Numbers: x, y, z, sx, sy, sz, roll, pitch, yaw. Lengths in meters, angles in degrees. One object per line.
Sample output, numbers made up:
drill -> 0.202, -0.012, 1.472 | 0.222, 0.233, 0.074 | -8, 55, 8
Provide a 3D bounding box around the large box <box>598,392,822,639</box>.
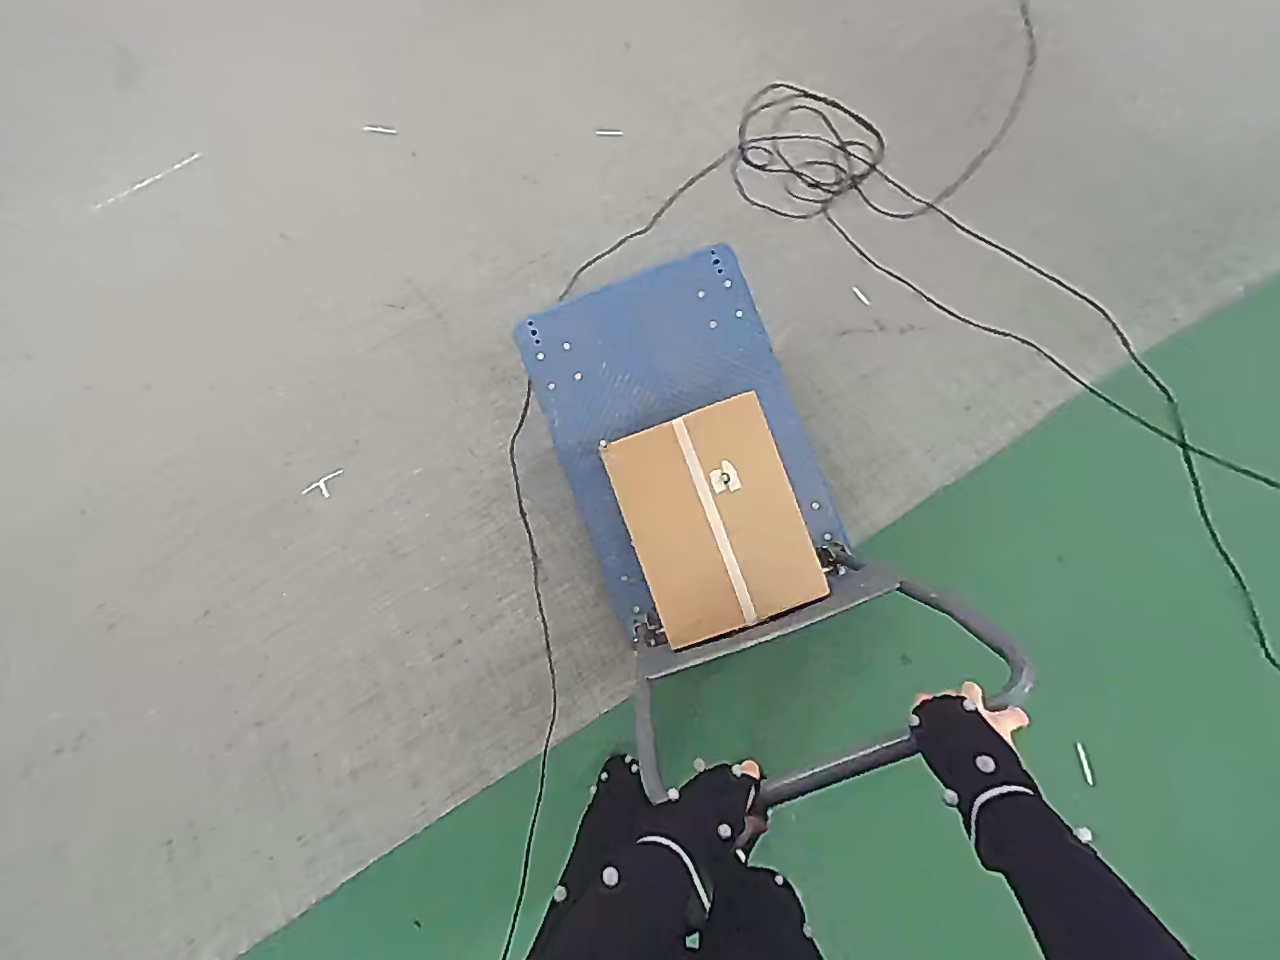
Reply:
large box -> 0.140, 0.075, 1.177 | 0.320, 0.320, 0.408 | -21, 86, 1
